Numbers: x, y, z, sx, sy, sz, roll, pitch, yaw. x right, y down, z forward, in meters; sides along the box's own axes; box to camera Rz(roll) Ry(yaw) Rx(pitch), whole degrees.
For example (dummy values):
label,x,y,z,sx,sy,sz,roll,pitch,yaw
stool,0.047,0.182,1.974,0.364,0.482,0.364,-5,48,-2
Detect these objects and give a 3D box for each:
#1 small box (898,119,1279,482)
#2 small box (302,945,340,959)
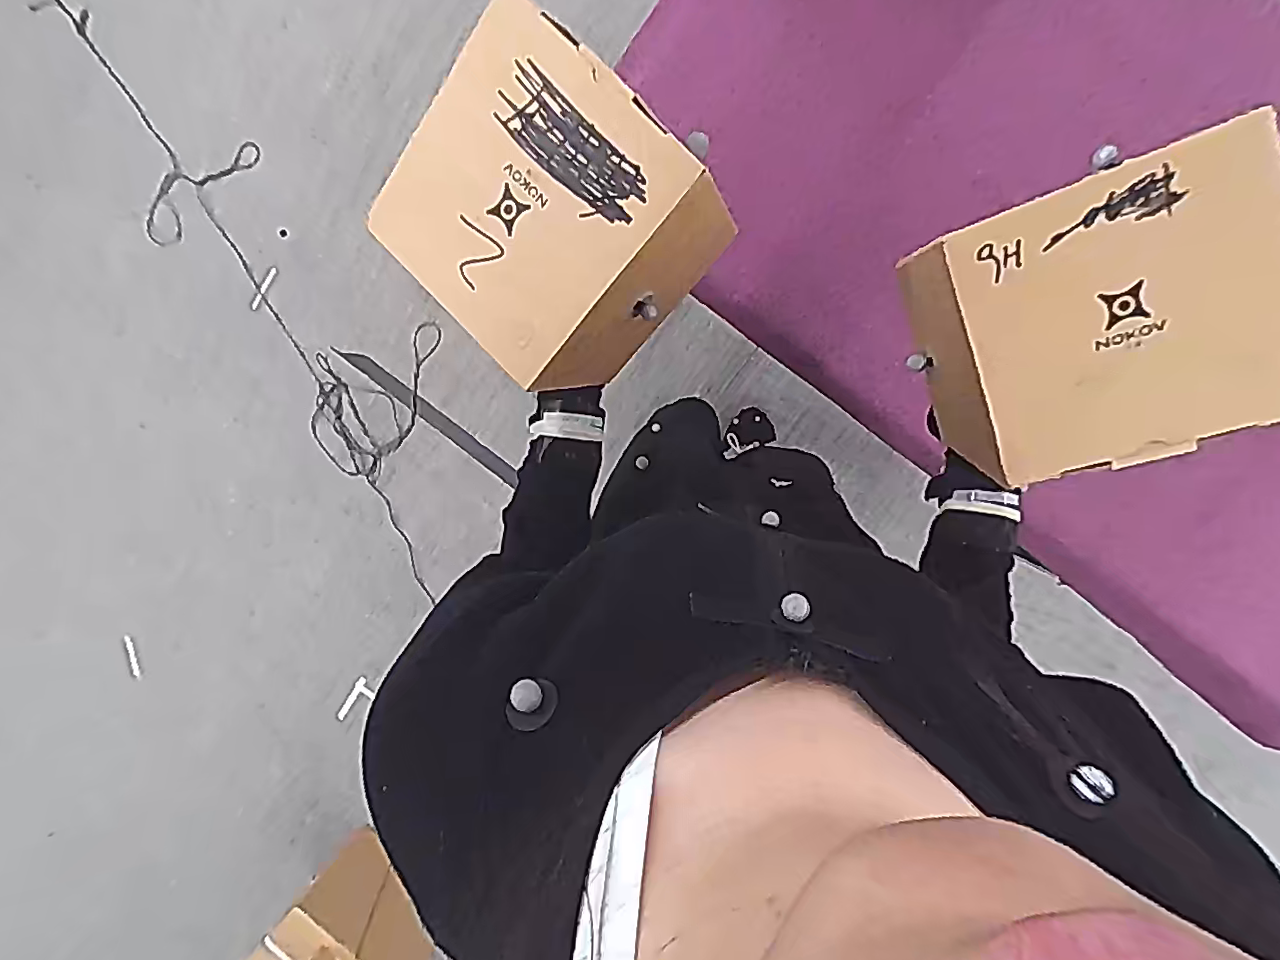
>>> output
label,x,y,z,sx,sy,sz,roll,pitch,yaw
small box,0.315,-0.120,0.409,0.168,0.176,0.179,-17,101,19
small box,-0.881,1.399,1.427,0.179,0.176,0.168,45,100,0
